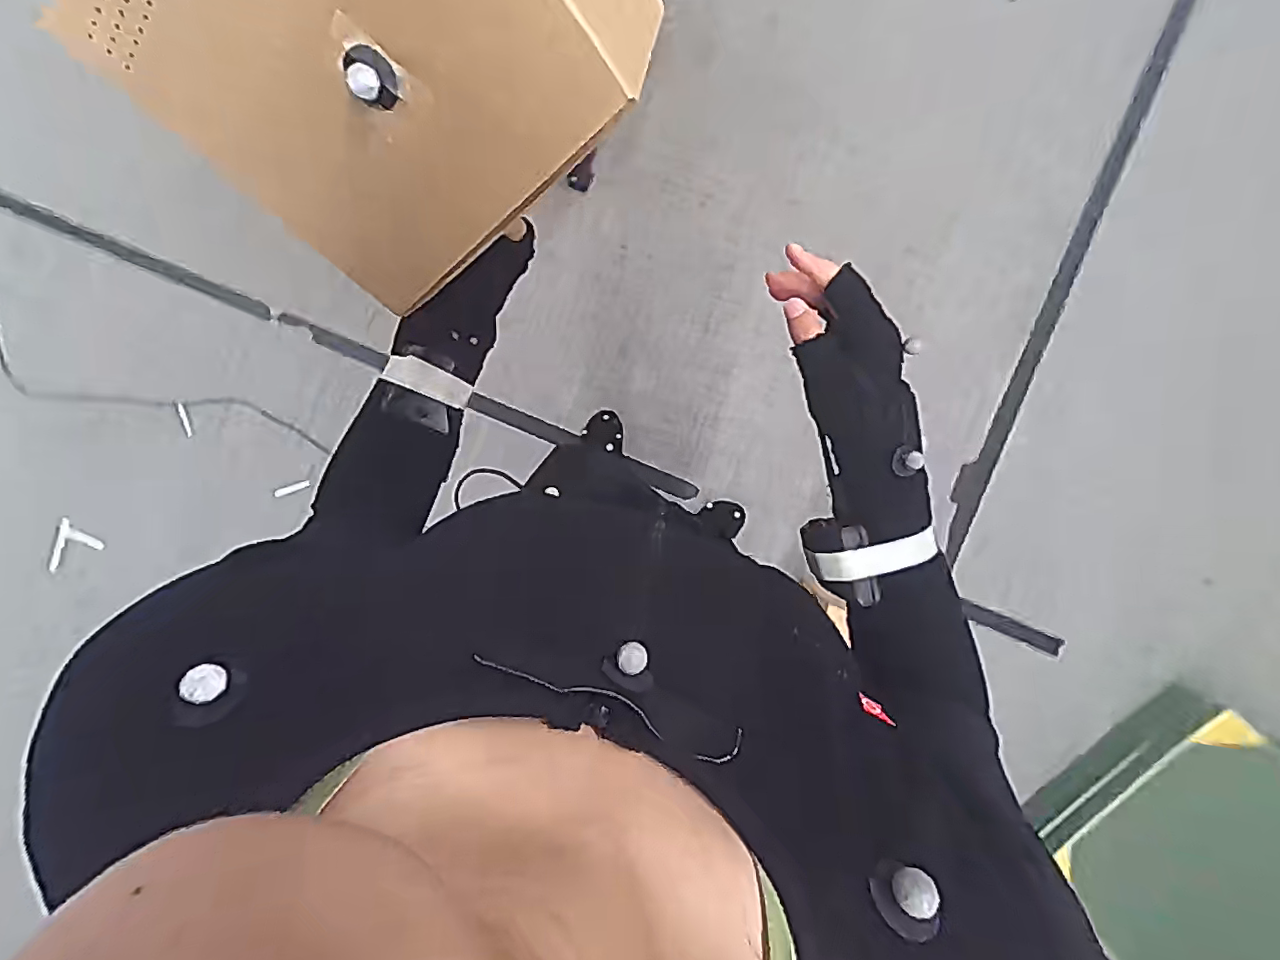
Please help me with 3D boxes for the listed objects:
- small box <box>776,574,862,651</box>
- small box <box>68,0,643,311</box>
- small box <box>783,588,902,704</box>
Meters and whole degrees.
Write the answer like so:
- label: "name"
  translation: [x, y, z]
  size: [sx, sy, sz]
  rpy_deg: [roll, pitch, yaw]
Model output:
- label: "small box"
  translation: [0.461, 0.365, 1.379]
  size: [0.168, 0.176, 0.179]
  rpy_deg: [26, 96, 4]
- label: "small box"
  translation: [-0.121, -0.230, 0.269]
  size: [0.179, 0.168, 0.176]
  rpy_deg: [-26, 131, 33]
- label: "small box"
  translation: [0.444, 0.360, 1.217]
  size: [0.179, 0.176, 0.168]
  rpy_deg: [26, 93, 5]
